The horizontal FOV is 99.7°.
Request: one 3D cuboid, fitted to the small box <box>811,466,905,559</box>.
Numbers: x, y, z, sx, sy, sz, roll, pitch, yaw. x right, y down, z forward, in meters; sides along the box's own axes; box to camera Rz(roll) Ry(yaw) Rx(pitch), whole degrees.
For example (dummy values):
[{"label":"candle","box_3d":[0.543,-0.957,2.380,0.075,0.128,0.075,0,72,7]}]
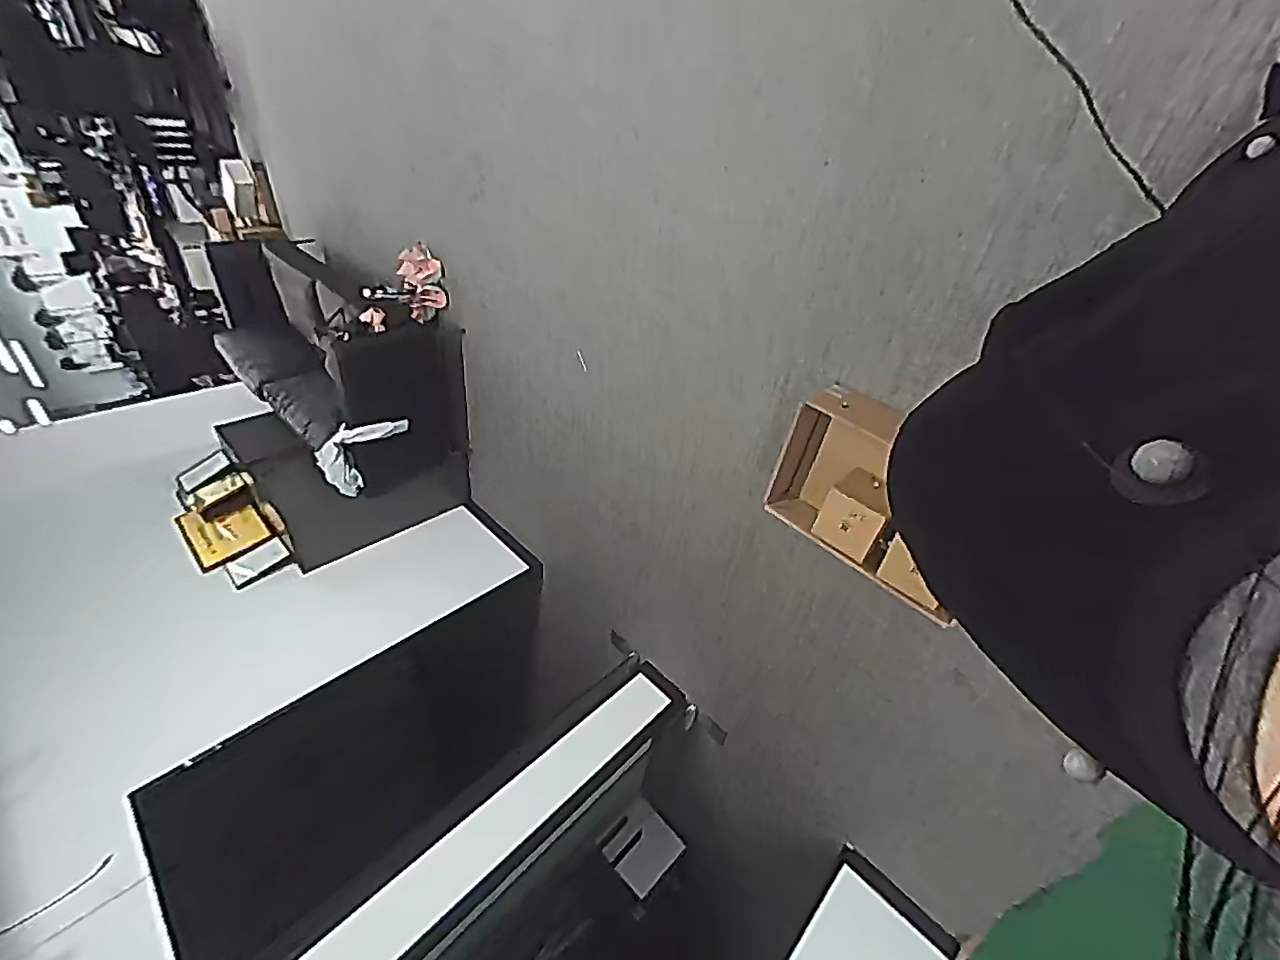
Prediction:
[{"label":"small box","box_3d":[0.629,0.089,1.556,0.168,0.176,0.179,36,133,28]}]
